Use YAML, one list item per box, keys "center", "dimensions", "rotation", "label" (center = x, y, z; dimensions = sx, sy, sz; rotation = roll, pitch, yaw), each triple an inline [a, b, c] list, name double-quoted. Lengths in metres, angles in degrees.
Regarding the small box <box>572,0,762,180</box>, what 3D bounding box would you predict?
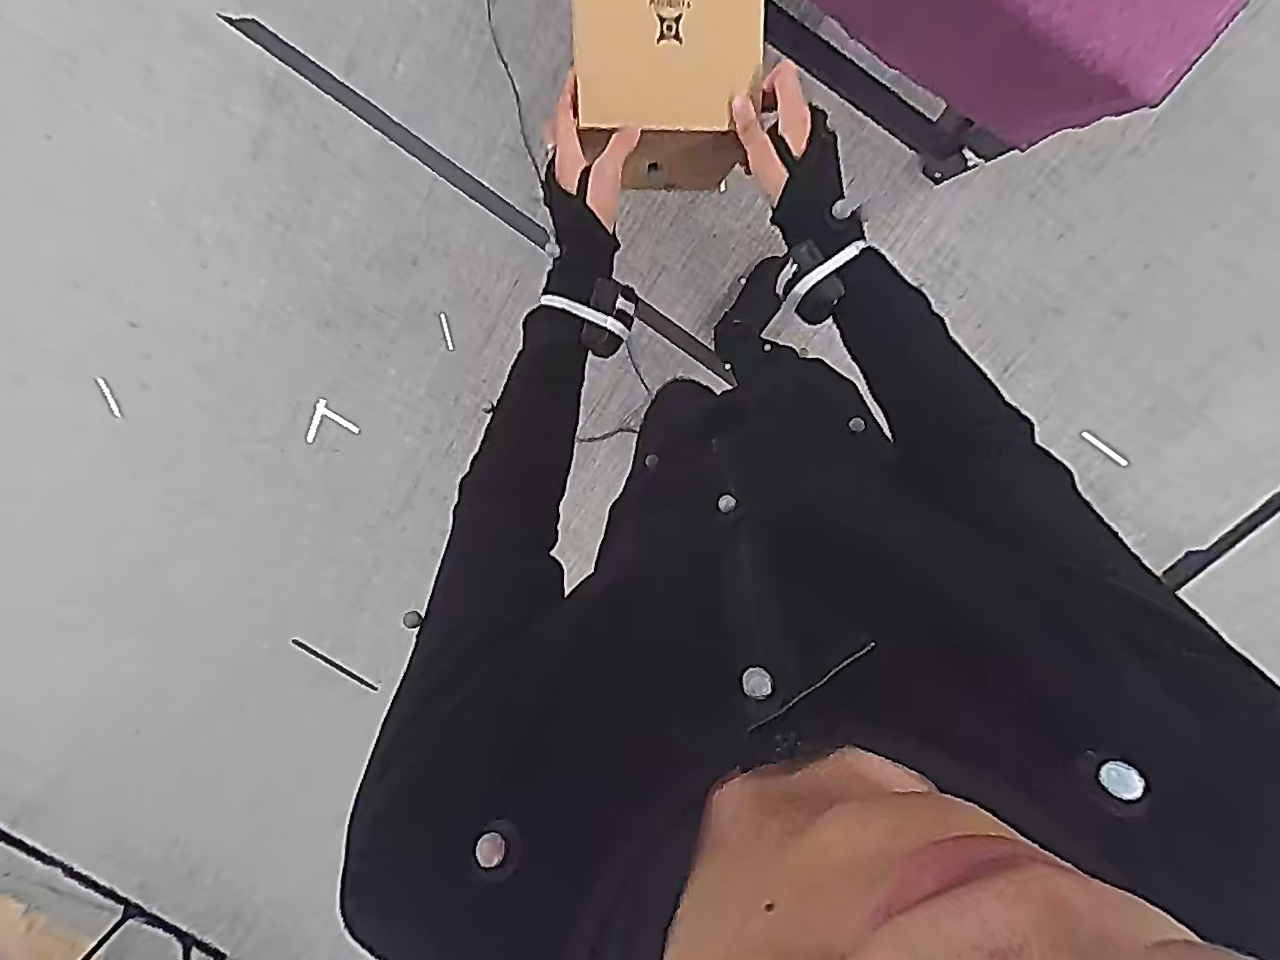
- center: [0.016, -0.420, 0.541]
  dimensions: [0.168, 0.176, 0.179]
  rotation: [-2, 101, -7]
  label: "small box"
